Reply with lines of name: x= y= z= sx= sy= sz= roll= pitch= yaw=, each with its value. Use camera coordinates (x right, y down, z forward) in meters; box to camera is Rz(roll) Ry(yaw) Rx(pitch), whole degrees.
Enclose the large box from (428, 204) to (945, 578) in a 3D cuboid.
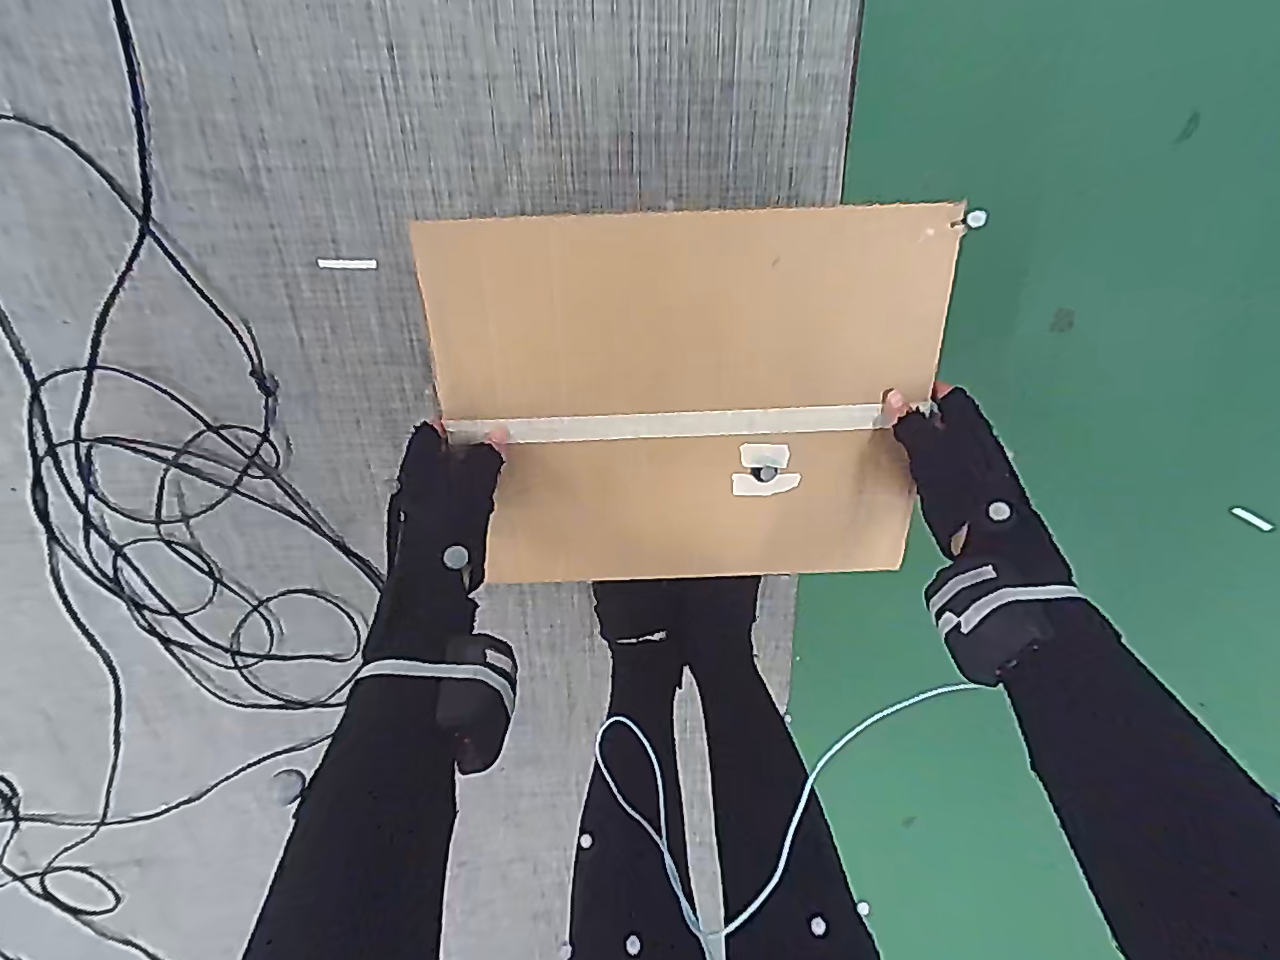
large box: x=0.038 y=-0.114 z=0.604 sx=0.408 sy=0.320 sz=0.320 roll=-3 pitch=114 yaw=0
